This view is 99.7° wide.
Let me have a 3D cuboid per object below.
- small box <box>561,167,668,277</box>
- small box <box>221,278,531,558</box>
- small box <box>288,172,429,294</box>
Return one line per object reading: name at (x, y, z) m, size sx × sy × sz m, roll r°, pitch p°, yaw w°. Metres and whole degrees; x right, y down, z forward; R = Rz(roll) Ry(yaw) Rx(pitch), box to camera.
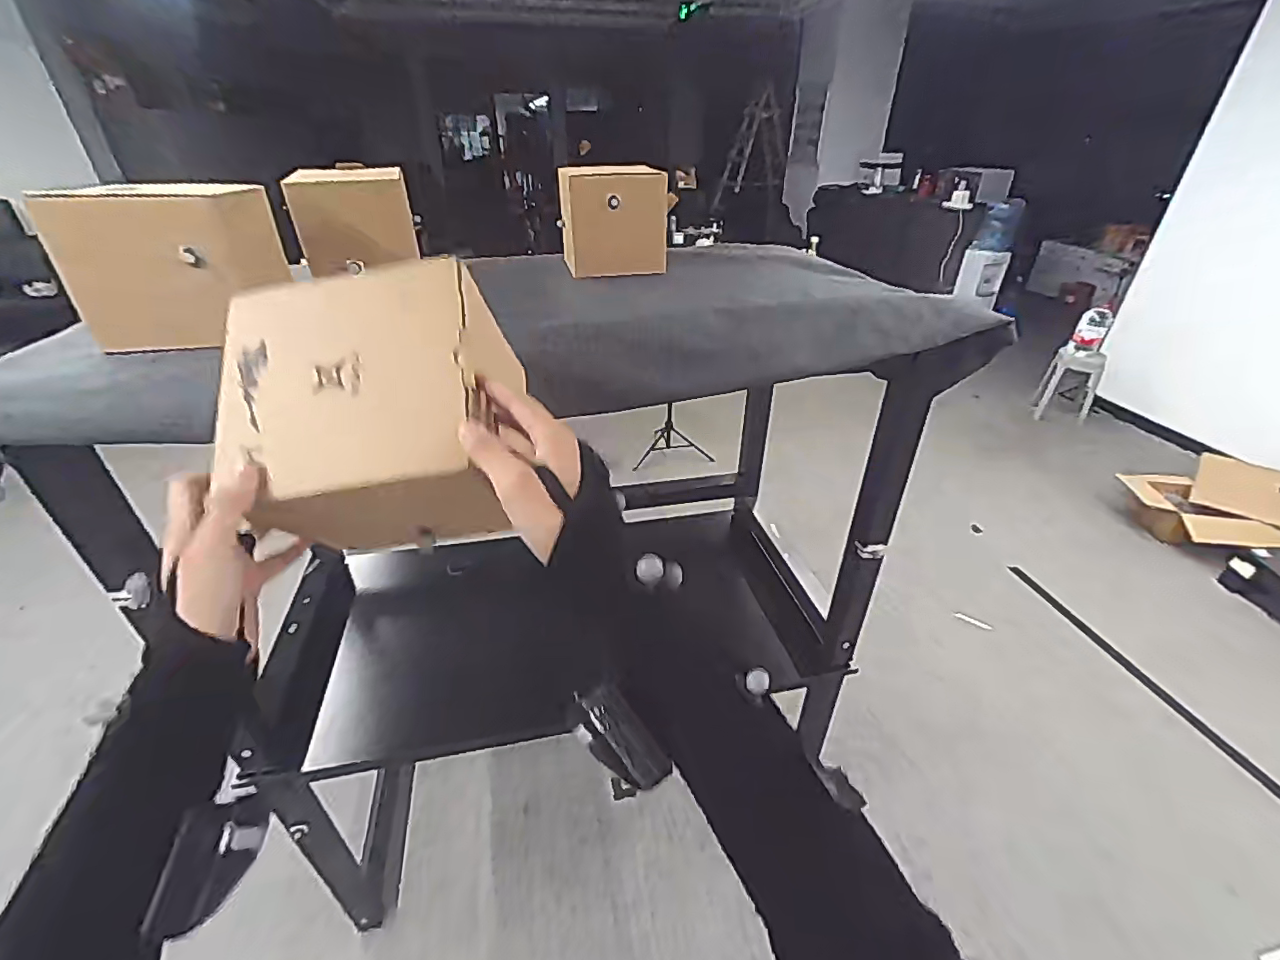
small box at (-0.049, -0.488, 1.020) m, size 0.179 × 0.176 × 0.168 m, roll -7°, pitch 34°, yaw -10°
small box at (-0.194, -0.038, 0.454) m, size 0.179 × 0.176 × 0.168 m, roll -8°, pitch 70°, yaw 1°
small box at (-0.467, -0.426, 0.926) m, size 0.168 × 0.176 × 0.179 m, roll -11°, pitch 35°, yaw -15°
